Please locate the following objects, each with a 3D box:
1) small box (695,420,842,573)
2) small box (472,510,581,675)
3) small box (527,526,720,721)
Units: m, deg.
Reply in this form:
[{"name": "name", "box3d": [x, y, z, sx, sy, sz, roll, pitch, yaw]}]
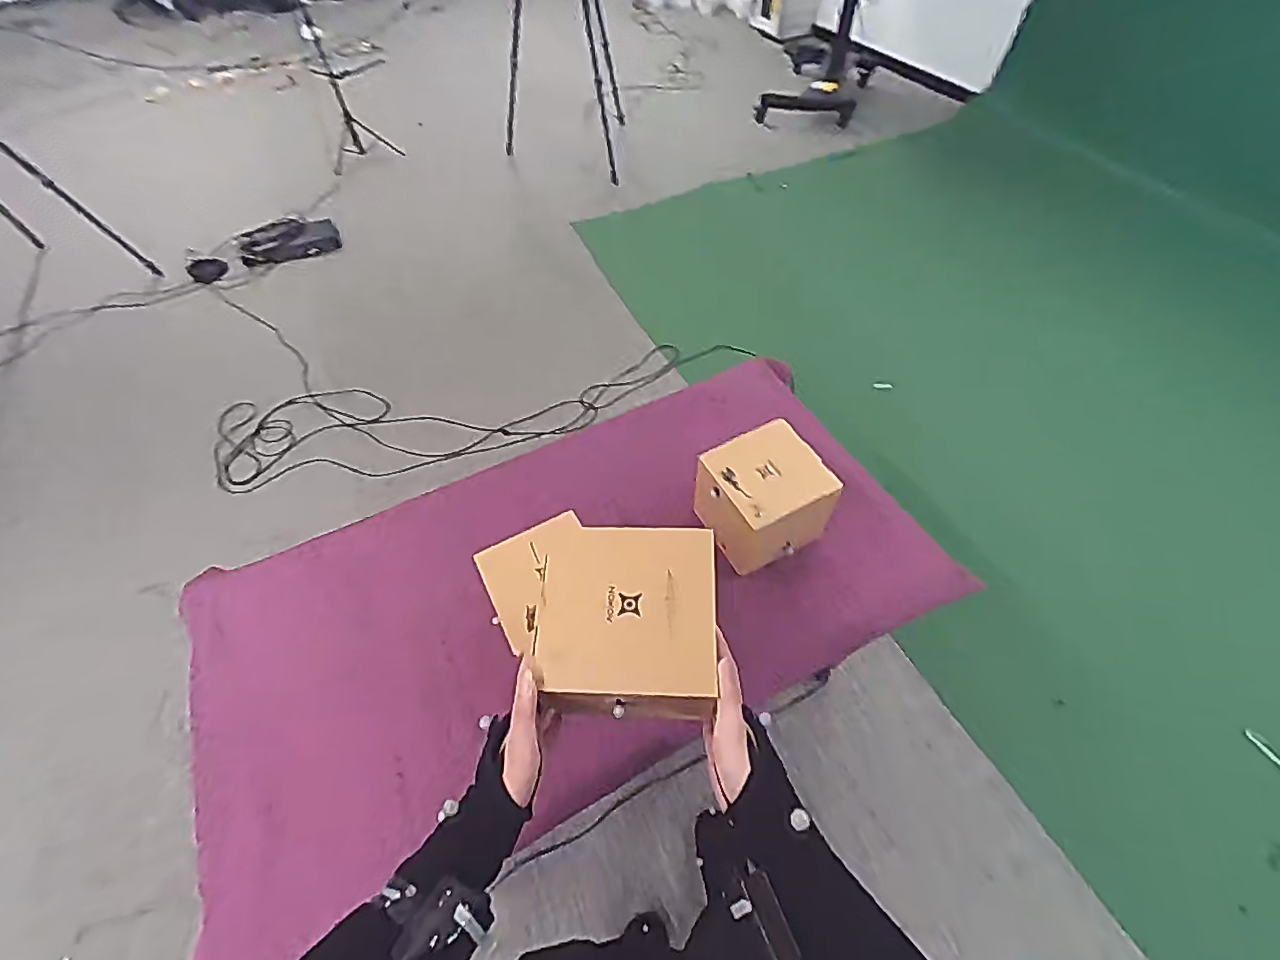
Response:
[{"name": "small box", "box3d": [0.210, 0.031, 0.941, 0.179, 0.176, 0.168, -24, 57, -15]}, {"name": "small box", "box3d": [-0.135, 0.185, 0.838, 0.168, 0.176, 0.179, -25, 57, -16]}, {"name": "small box", "box3d": [-0.006, 0.161, 0.586, 0.179, 0.176, 0.168, 1, 60, 5]}]
